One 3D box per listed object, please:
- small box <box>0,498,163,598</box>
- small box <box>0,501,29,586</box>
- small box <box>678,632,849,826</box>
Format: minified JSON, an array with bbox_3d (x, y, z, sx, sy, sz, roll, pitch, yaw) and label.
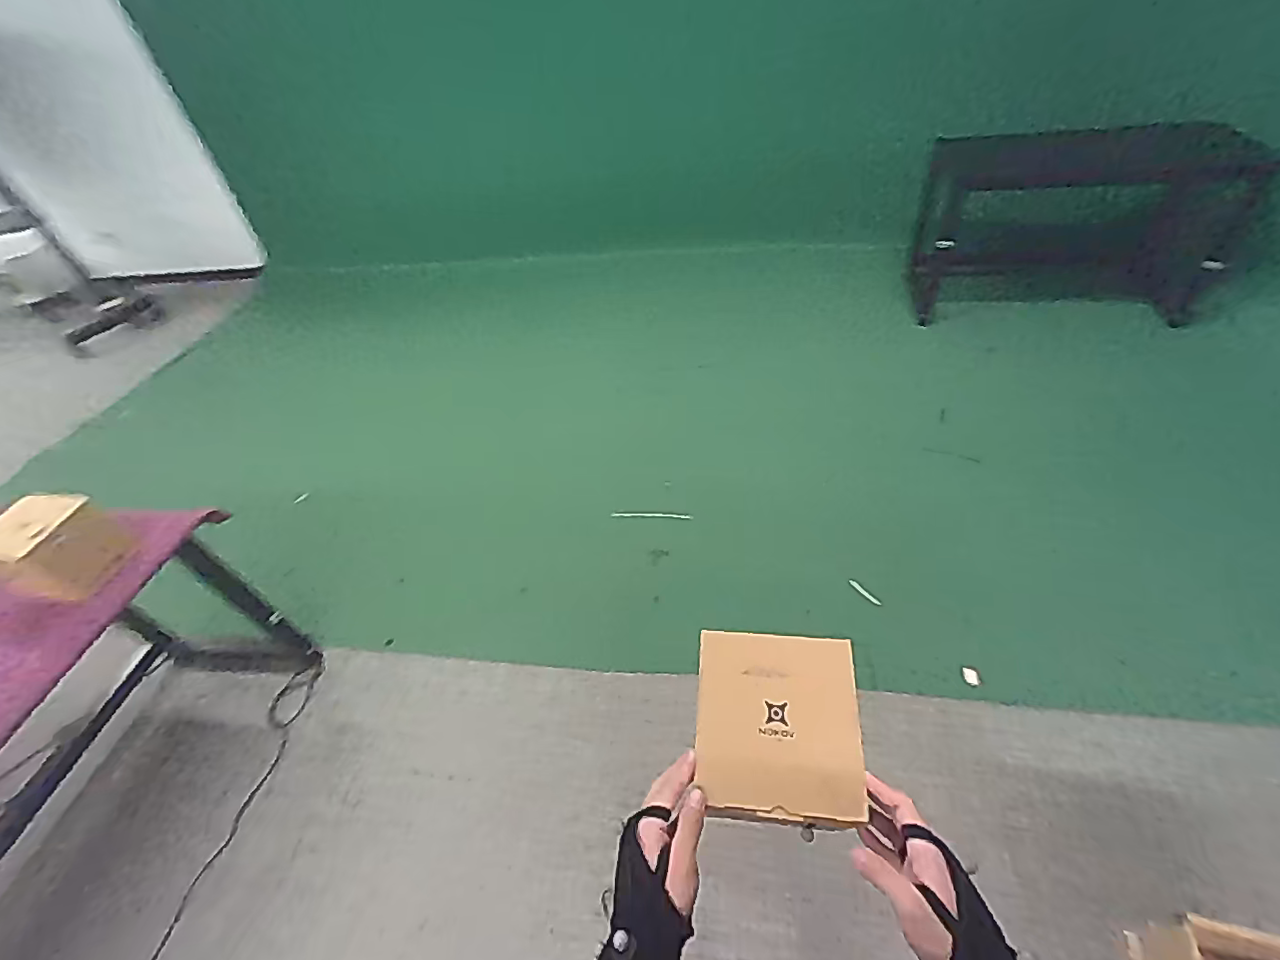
[{"bbox_3d":[-1.279,0.158,1.243,0.179,0.176,0.168,1,48,11],"label":"small box"},{"bbox_3d":[-1.627,0.153,1.311,0.179,0.176,0.168,0,49,9],"label":"small box"},{"bbox_3d":[0.138,0.294,0.632,0.168,0.176,0.179,1,57,9],"label":"small box"}]
